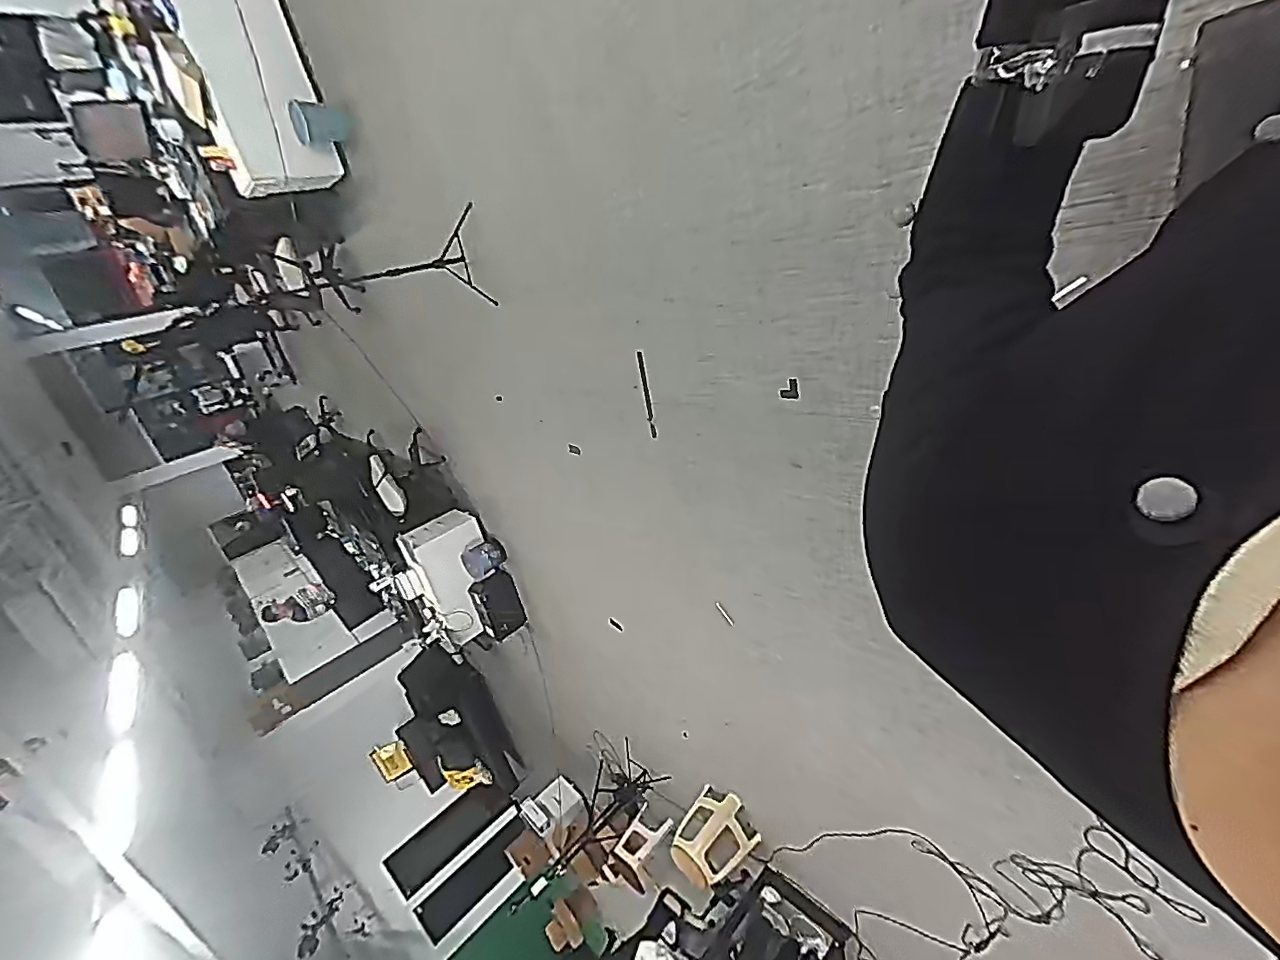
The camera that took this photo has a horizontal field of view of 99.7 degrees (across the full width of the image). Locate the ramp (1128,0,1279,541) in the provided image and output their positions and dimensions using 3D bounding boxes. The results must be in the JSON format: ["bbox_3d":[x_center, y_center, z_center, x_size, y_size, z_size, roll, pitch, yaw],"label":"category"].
[{"bbox_3d":[1.178,-0.272,0.886,0.509,0.206,0.991,11,124,46],"label":"ramp"}]
